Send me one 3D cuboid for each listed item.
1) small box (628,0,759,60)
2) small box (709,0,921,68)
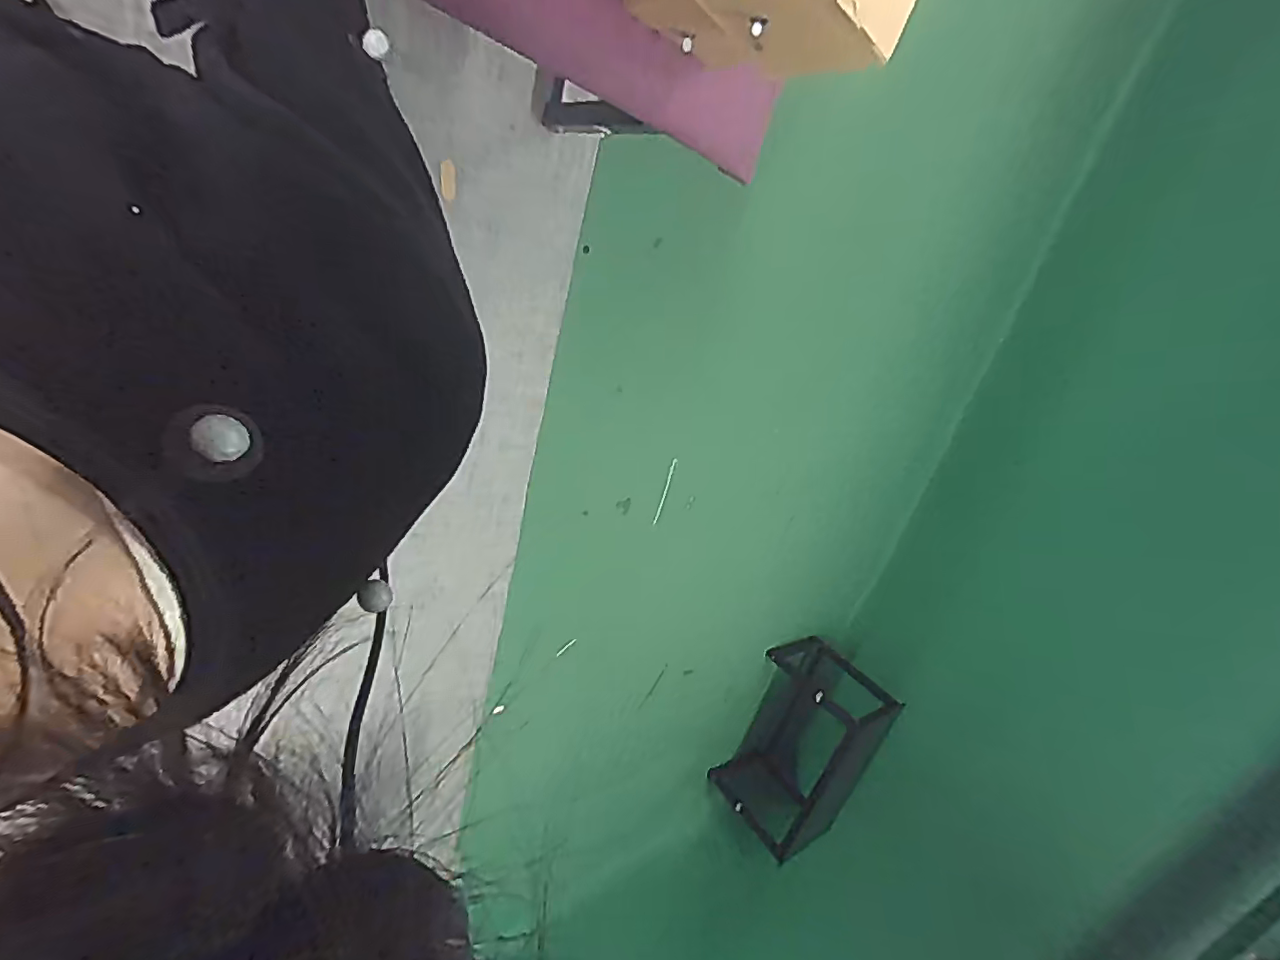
[{"bbox_3d":[0.112,-0.648,0.661,0.179,0.176,0.168,-2,116,-39],"label":"small box"},{"bbox_3d":[0.190,-0.560,0.544,0.168,0.176,0.179,8,111,-41],"label":"small box"}]
